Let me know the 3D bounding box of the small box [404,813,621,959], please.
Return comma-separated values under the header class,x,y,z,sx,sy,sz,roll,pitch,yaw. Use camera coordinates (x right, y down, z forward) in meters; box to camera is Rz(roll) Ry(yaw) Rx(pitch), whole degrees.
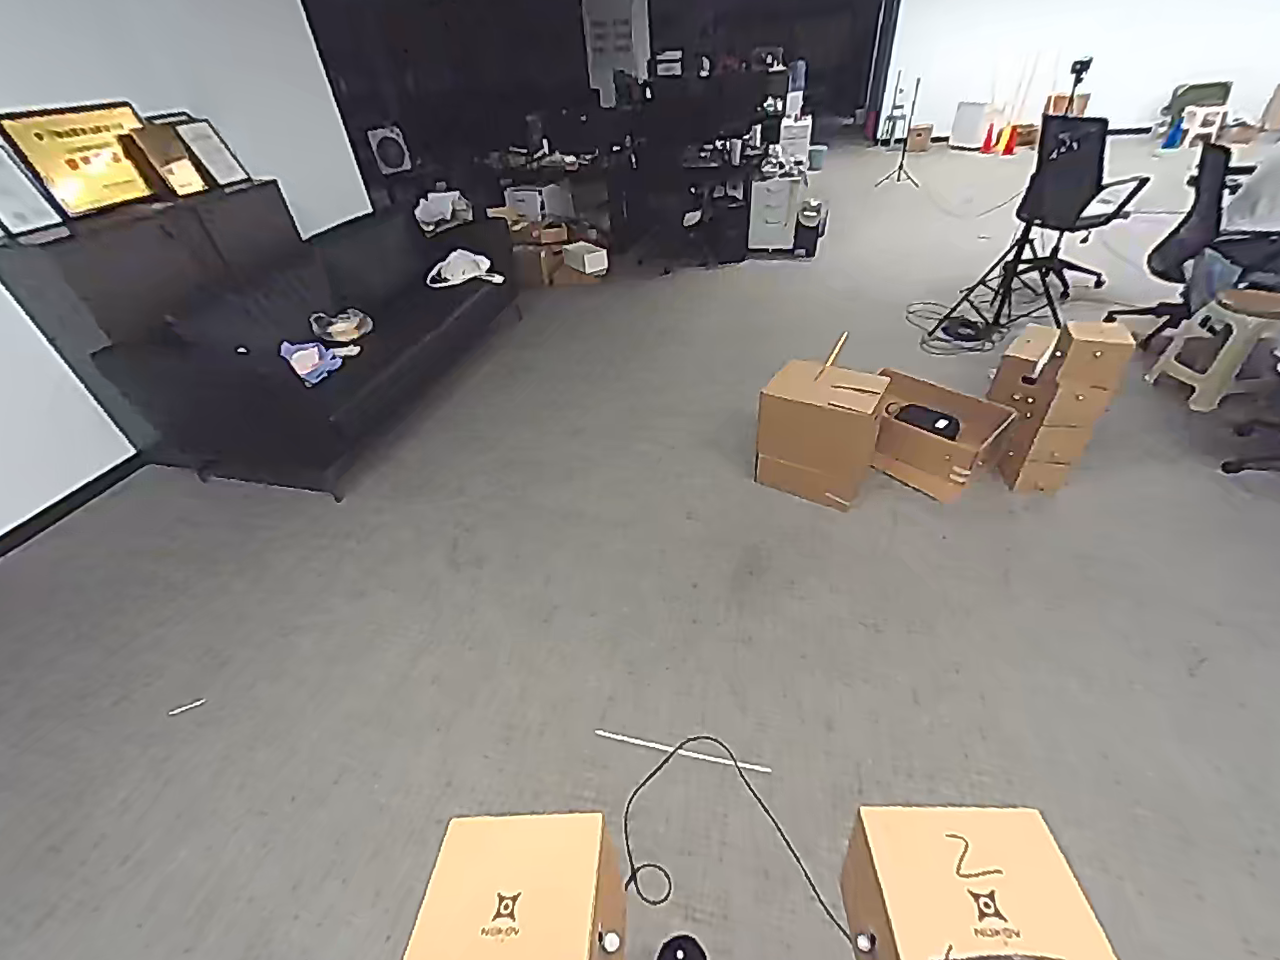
class,x,y,z,sx,sy,sz,roll,pitch,yaw
small box,-0.114,0.467,0.536,0.168,0.176,0.179,-6,29,6
